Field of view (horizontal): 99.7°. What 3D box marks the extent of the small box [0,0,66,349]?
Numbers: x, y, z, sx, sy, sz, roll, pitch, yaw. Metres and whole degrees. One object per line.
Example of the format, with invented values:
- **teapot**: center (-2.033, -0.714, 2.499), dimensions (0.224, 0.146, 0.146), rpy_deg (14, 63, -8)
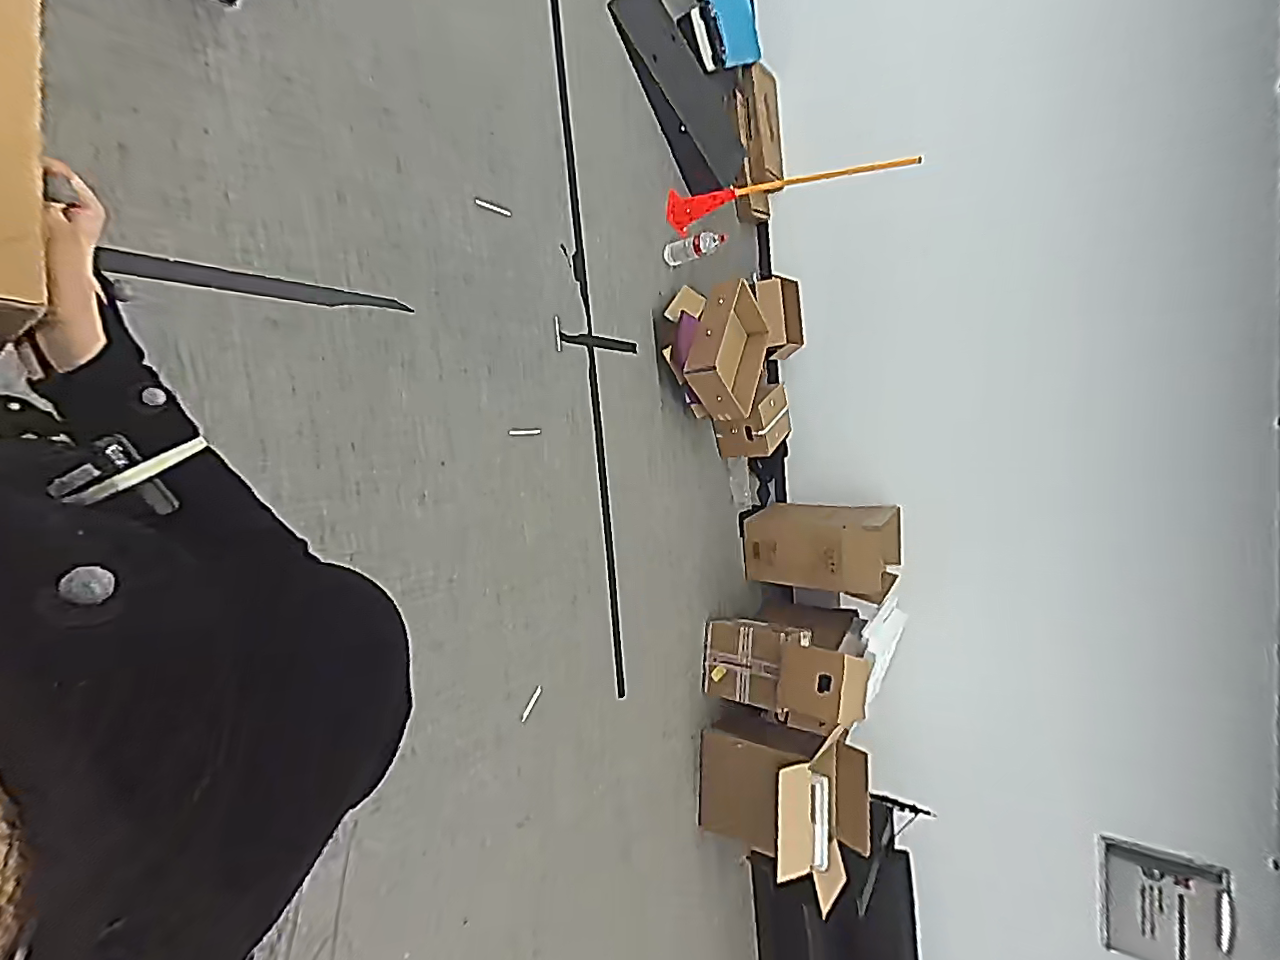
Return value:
- **small box**: center (-0.408, -0.169, 0.254), dimensions (0.168, 0.176, 0.179), rpy_deg (-1, 90, -57)
